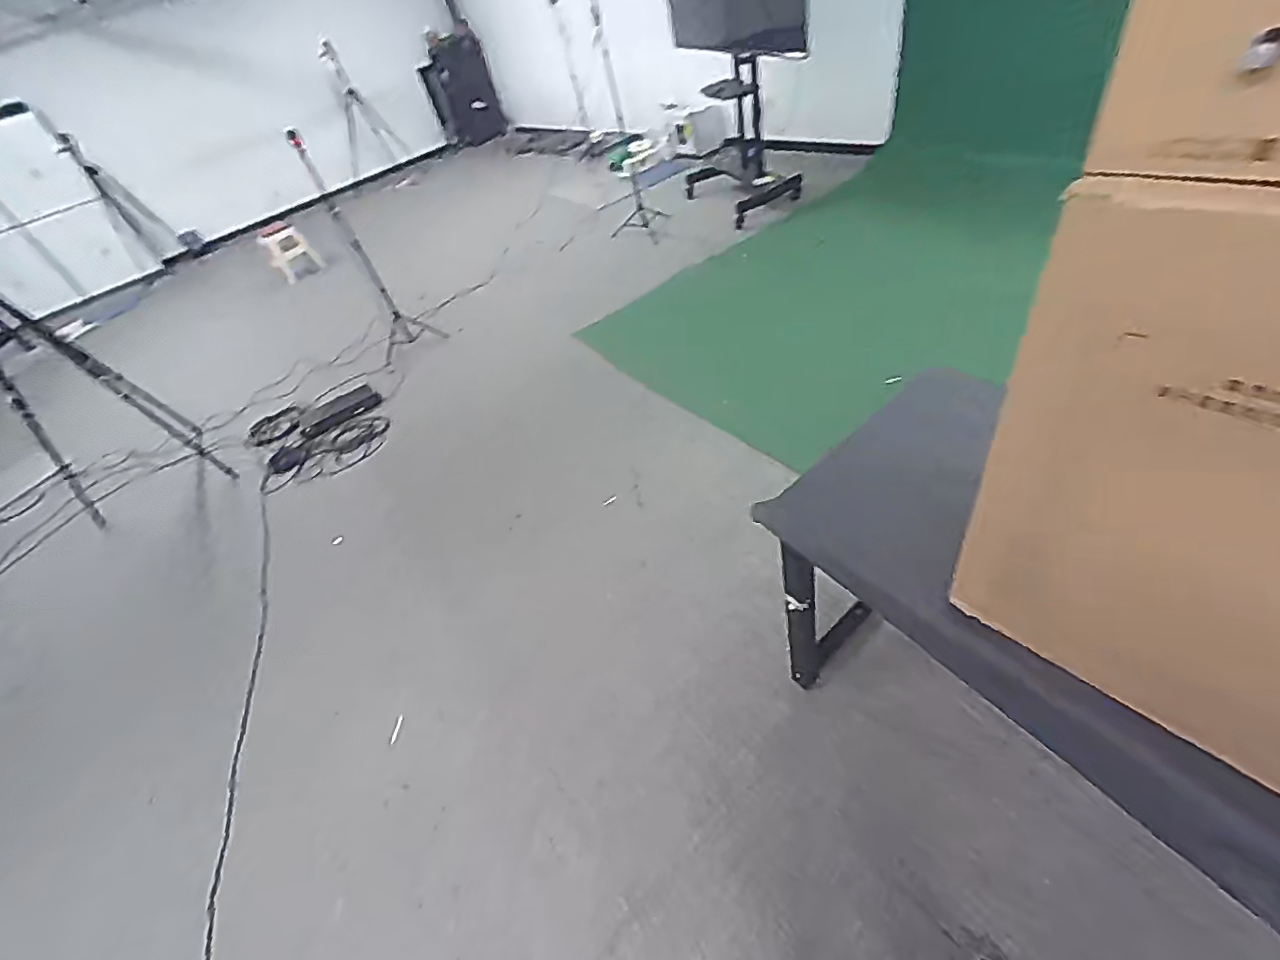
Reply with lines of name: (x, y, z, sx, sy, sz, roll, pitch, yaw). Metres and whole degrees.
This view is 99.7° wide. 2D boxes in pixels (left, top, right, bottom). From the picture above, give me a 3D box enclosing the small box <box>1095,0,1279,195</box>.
small box: (0.468, -0.321, 0.380, 0.179, 0.176, 0.168, -36, 46, -19)
